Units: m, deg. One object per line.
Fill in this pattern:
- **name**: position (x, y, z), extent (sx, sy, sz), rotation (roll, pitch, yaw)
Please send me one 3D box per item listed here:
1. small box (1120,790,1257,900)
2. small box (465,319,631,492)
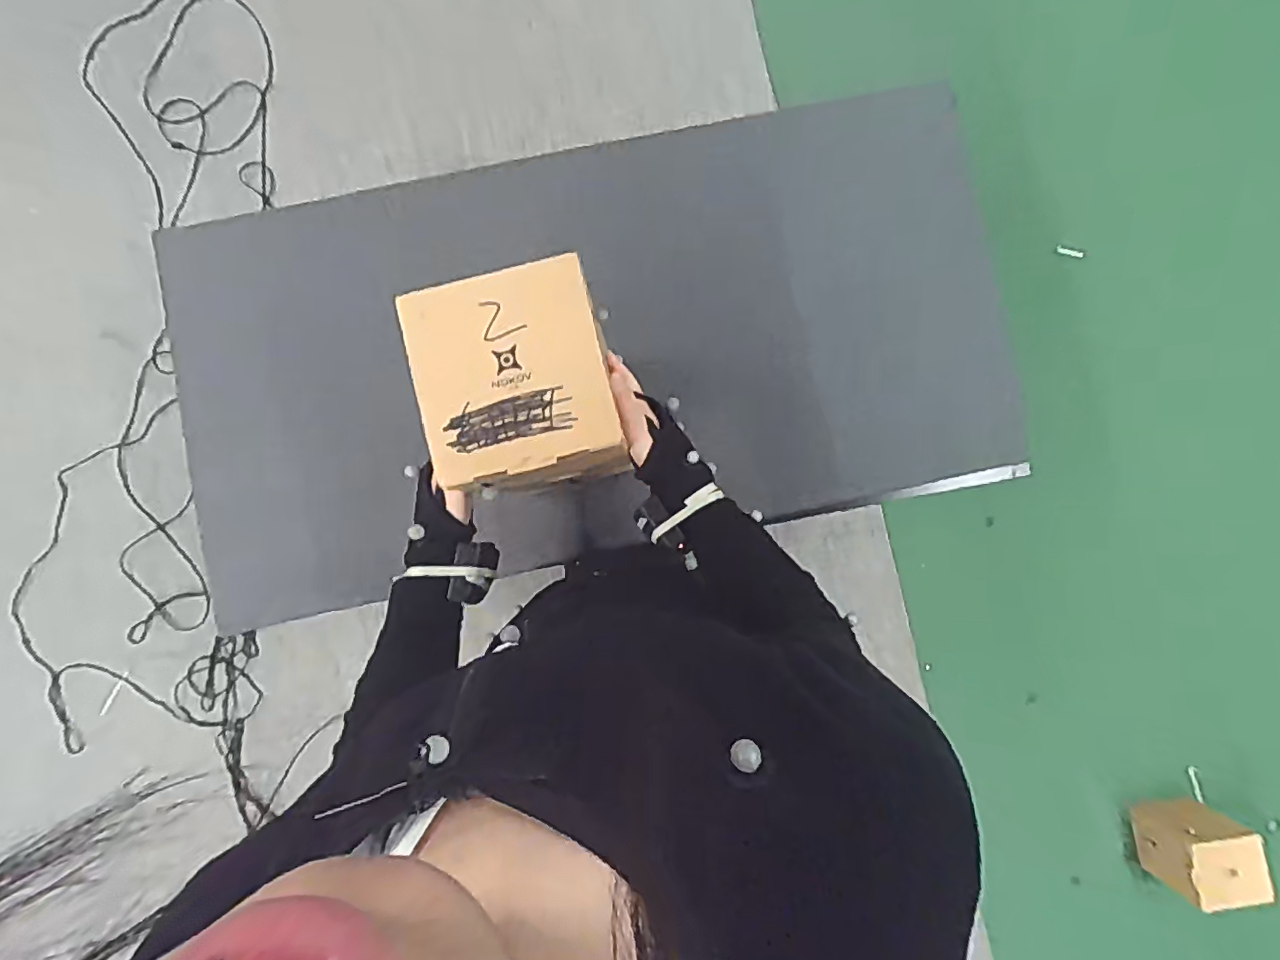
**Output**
- **small box**: position (1.423, 0.942, 1.413), extent (0.179, 0.176, 0.168), rotation (-10, 89, 0)
- **small box**: position (-0.110, -0.086, 0.717), extent (0.168, 0.176, 0.179), rotation (-14, 88, 0)
